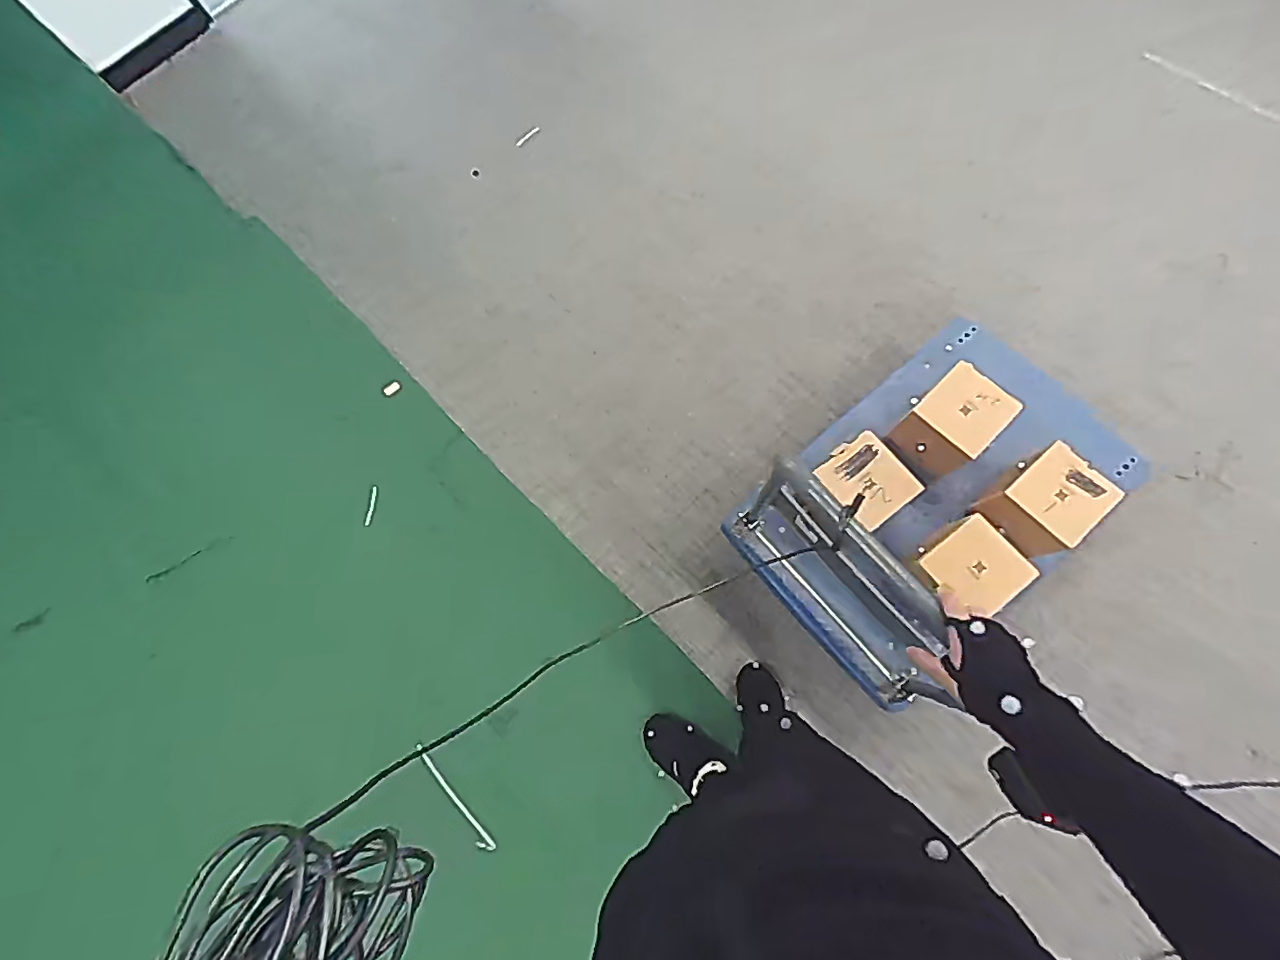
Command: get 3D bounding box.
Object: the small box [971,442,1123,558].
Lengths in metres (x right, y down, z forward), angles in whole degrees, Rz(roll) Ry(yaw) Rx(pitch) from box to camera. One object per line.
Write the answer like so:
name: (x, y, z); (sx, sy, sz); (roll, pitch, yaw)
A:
small box: (0.884, 0.050, 1.195); (0.179, 0.176, 0.168); (-41, 75, -6)

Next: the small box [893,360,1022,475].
small box: (0.722, -0.136, 1.259); (0.179, 0.176, 0.168); (-43, 77, -7)

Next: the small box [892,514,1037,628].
small box: (0.687, 0.201, 1.171); (0.179, 0.176, 0.168); (-38, 75, -5)
